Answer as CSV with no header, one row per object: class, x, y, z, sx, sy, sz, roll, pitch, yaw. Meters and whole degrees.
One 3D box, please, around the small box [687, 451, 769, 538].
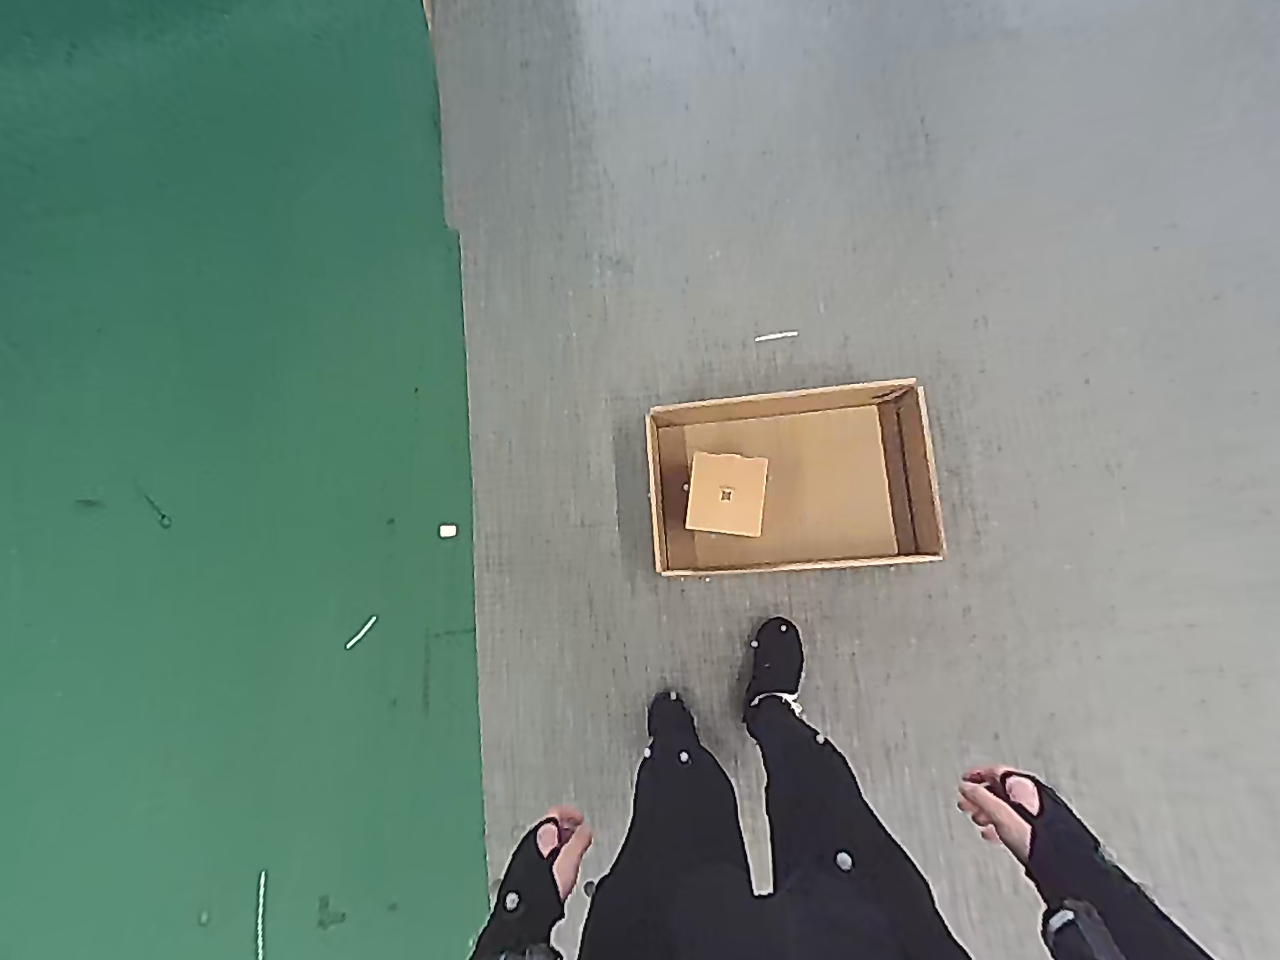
small box,0.206,0.040,1.263,0.168,0.176,0.179,6,82,10
